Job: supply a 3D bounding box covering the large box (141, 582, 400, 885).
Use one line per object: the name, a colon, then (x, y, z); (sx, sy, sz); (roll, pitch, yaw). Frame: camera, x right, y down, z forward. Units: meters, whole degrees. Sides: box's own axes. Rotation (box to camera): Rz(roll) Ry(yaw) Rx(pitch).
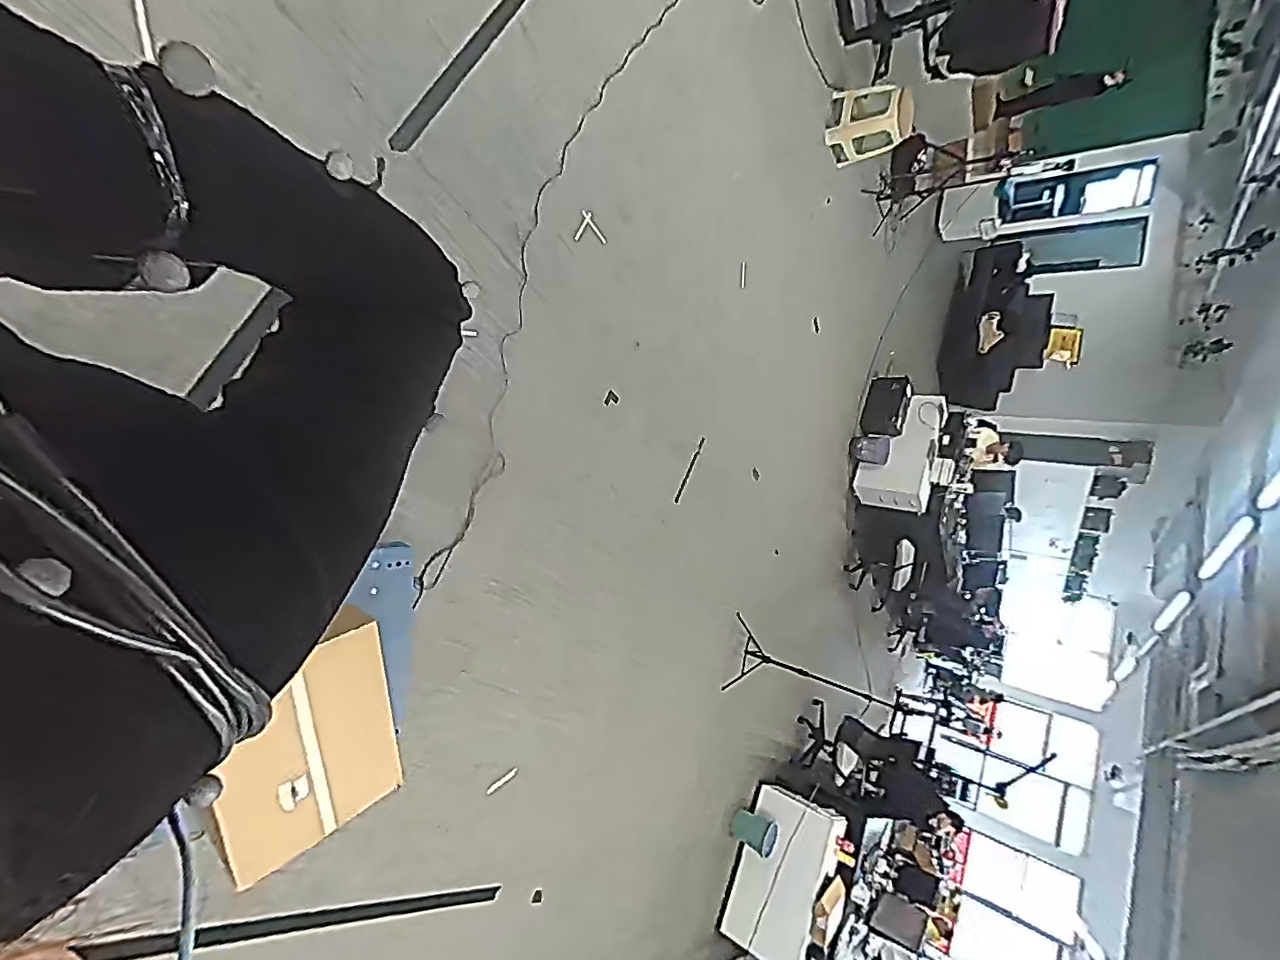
large box: (-0.743, 0.478, 1.110); (0.320, 0.320, 0.408); (-18, 113, -48)
